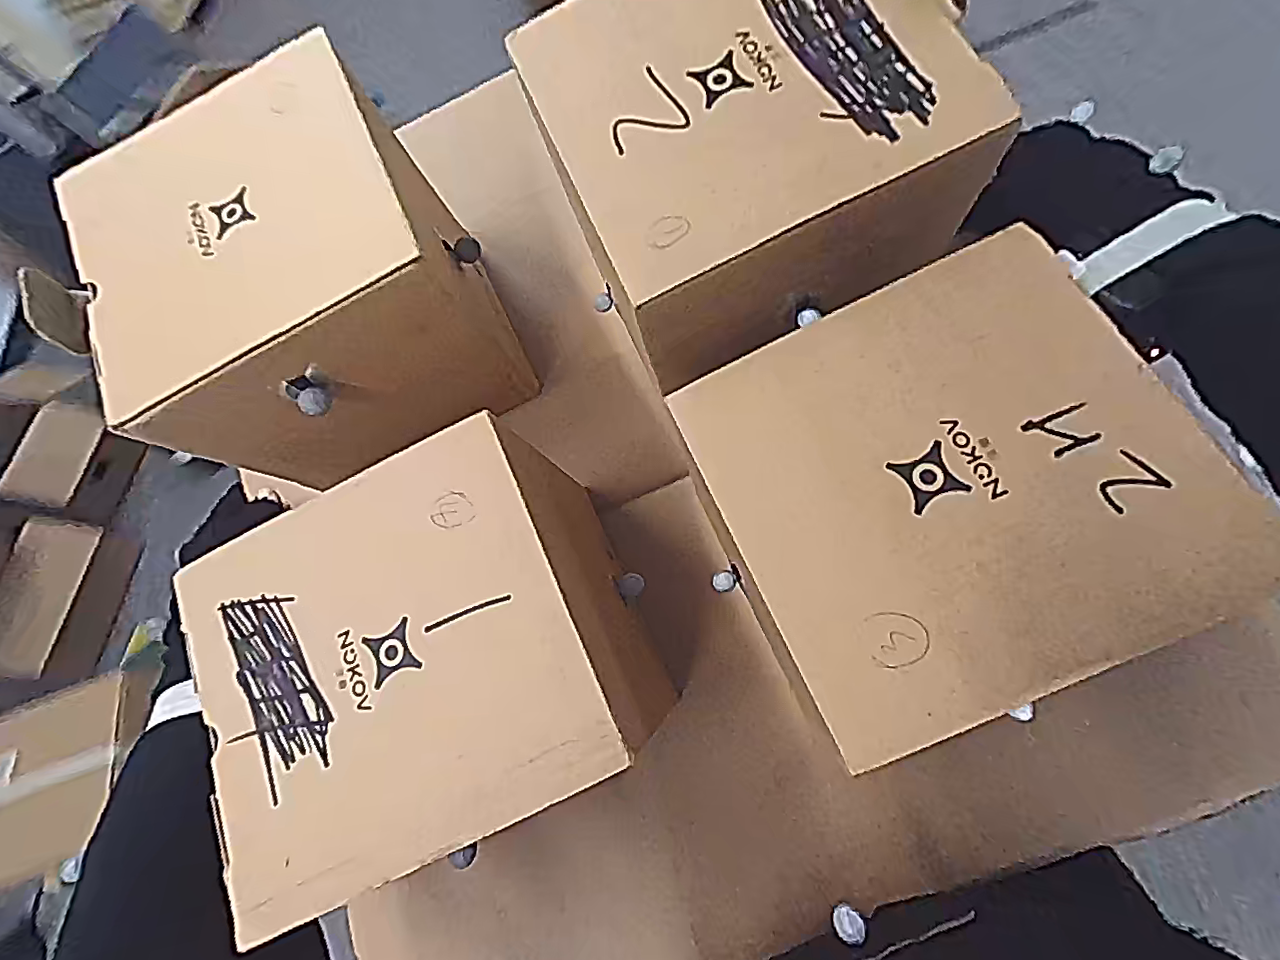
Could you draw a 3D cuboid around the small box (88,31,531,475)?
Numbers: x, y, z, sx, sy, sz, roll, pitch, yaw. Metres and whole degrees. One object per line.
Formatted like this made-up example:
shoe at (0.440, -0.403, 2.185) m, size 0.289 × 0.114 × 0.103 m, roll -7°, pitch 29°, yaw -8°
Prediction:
small box at (-0.191, -0.123, 0.359) m, size 0.179 × 0.176 × 0.168 m, roll -27°, pitch 74°, yaw 5°
